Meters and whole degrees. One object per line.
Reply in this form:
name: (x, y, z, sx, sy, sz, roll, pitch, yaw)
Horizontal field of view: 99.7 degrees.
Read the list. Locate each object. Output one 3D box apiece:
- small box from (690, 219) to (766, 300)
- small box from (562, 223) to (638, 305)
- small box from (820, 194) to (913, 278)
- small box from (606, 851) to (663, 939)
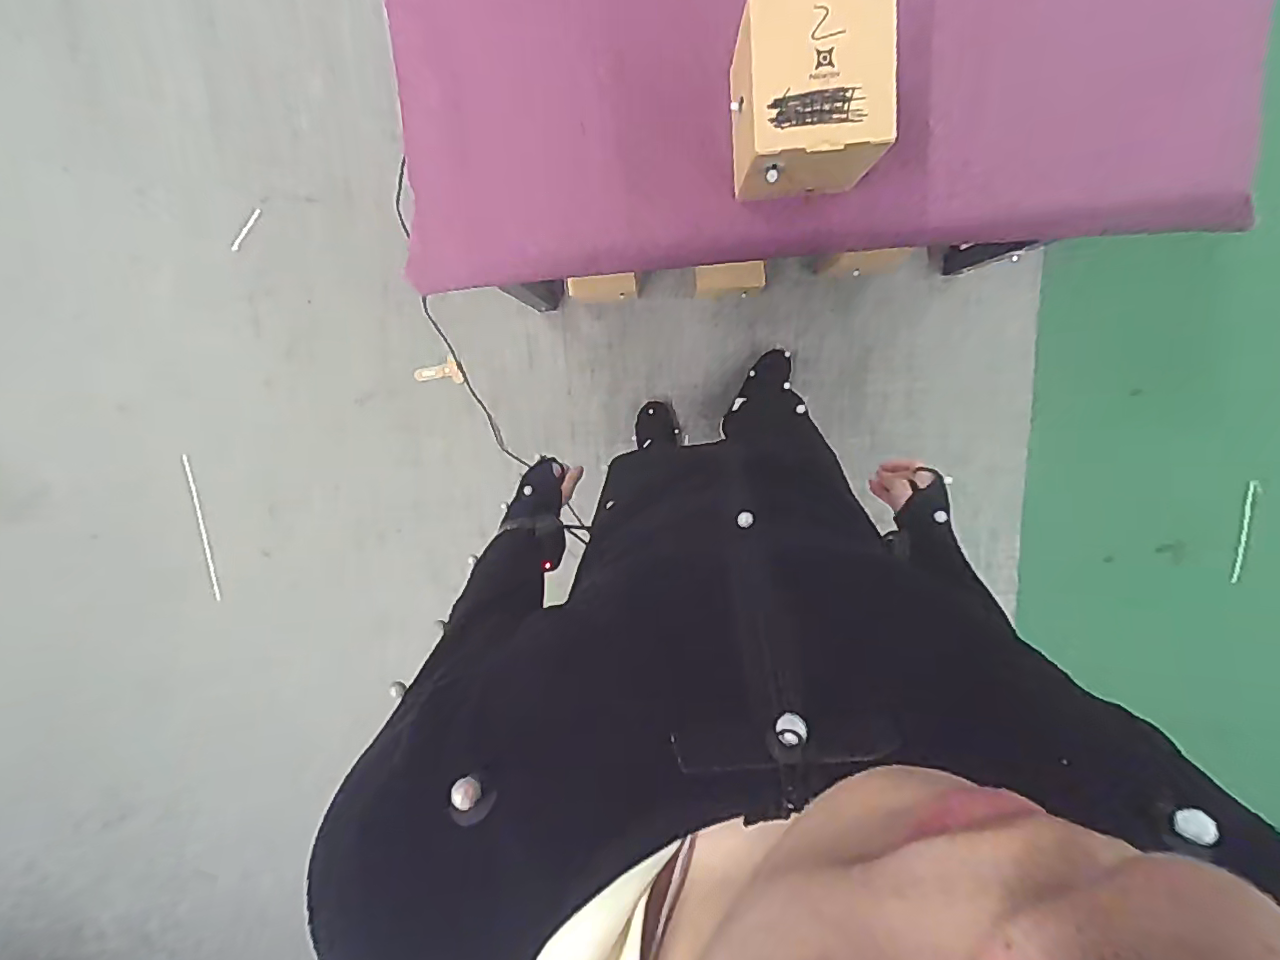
small box: (0.226, -0.571, 1.417, 0.179, 0.176, 0.168, -3, 100, 3)
small box: (-0.099, -0.565, 1.430, 0.179, 0.176, 0.168, -4, 100, 2)
small box: (0.575, -0.621, 1.395, 0.179, 0.176, 0.168, -1, 101, 2)
small box: (-0.014, 1.360, 1.781, 0.179, 0.176, 0.168, -3, 101, 2)
